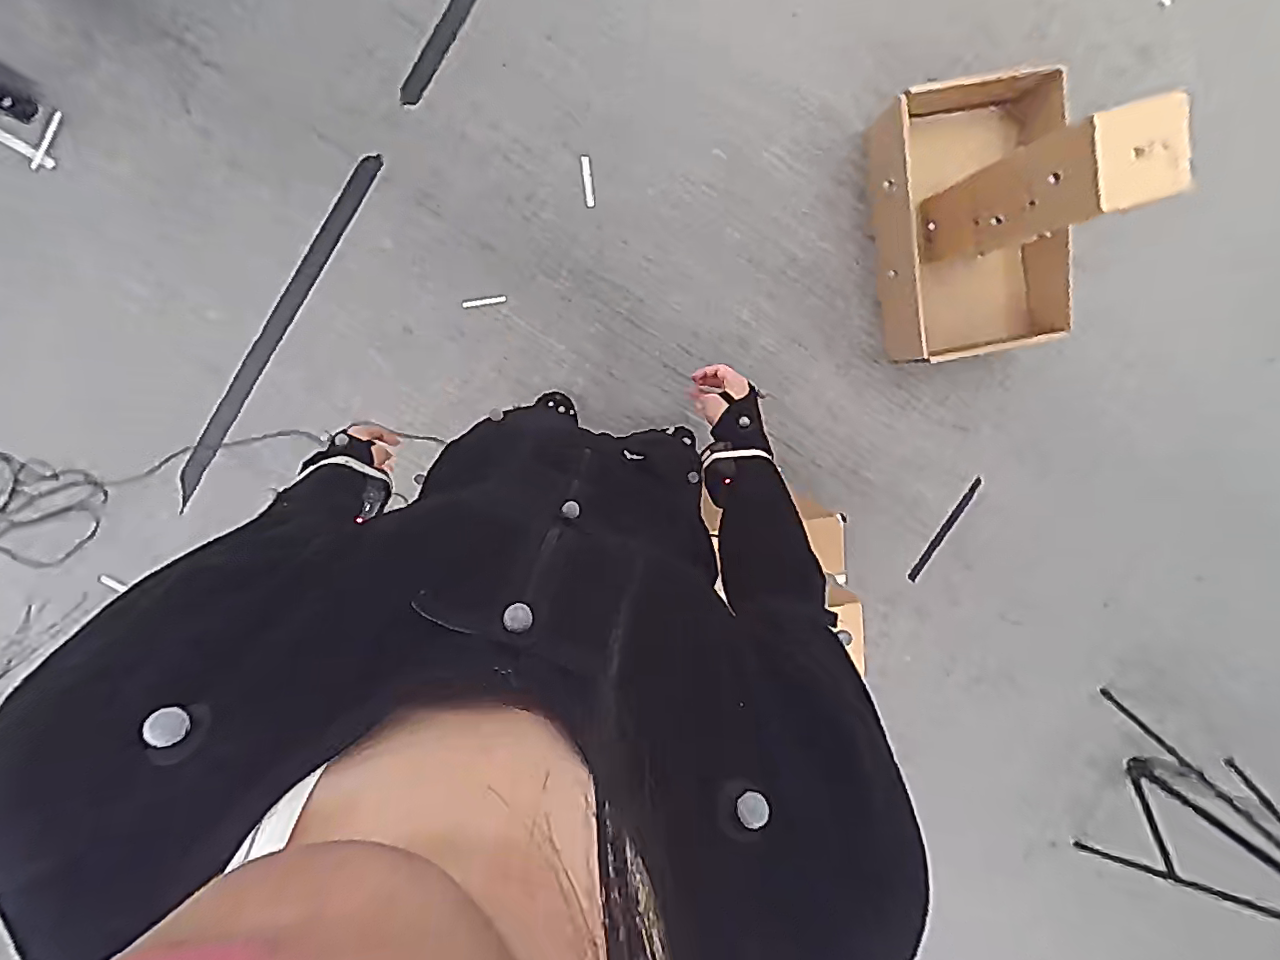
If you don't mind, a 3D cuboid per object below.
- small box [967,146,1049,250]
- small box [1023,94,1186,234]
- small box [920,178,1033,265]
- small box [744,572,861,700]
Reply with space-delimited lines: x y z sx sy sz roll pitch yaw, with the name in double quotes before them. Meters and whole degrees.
"small box" 0.847 -0.621 1.183 0.179 0.176 0.168 -16 103 -4
"small box" 0.863 -0.583 1.022 0.179 0.176 0.168 -16 104 -2
"small box" 0.830 -0.645 1.342 0.179 0.176 0.168 -11 102 -3
"small box" 0.301 0.284 1.029 0.168 0.176 0.179 -7 101 -4
